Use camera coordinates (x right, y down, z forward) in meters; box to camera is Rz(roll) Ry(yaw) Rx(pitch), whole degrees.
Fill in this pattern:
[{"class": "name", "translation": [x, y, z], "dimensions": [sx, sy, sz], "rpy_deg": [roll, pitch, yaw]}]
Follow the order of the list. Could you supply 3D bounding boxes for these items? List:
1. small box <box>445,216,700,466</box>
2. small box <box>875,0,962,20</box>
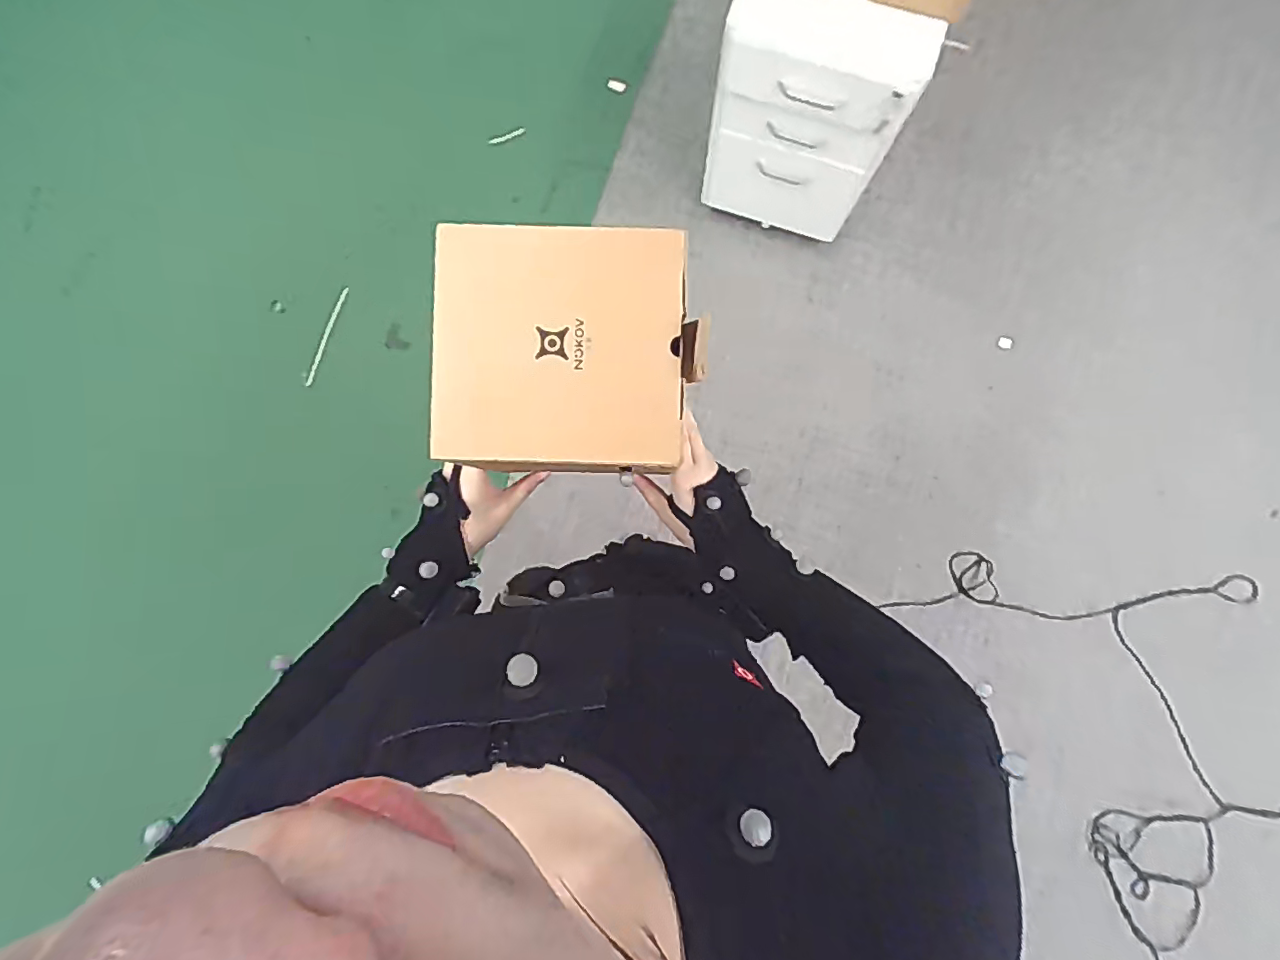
[{"class": "small box", "translation": [-0.047, -0.100, 0.460], "dimensions": [0.179, 0.176, 0.168], "rpy_deg": [2, 88, -1]}, {"class": "small box", "translation": [0.528, -0.969, 0.952], "dimensions": [0.179, 0.176, 0.168], "rpy_deg": [19, 84, 3]}]
